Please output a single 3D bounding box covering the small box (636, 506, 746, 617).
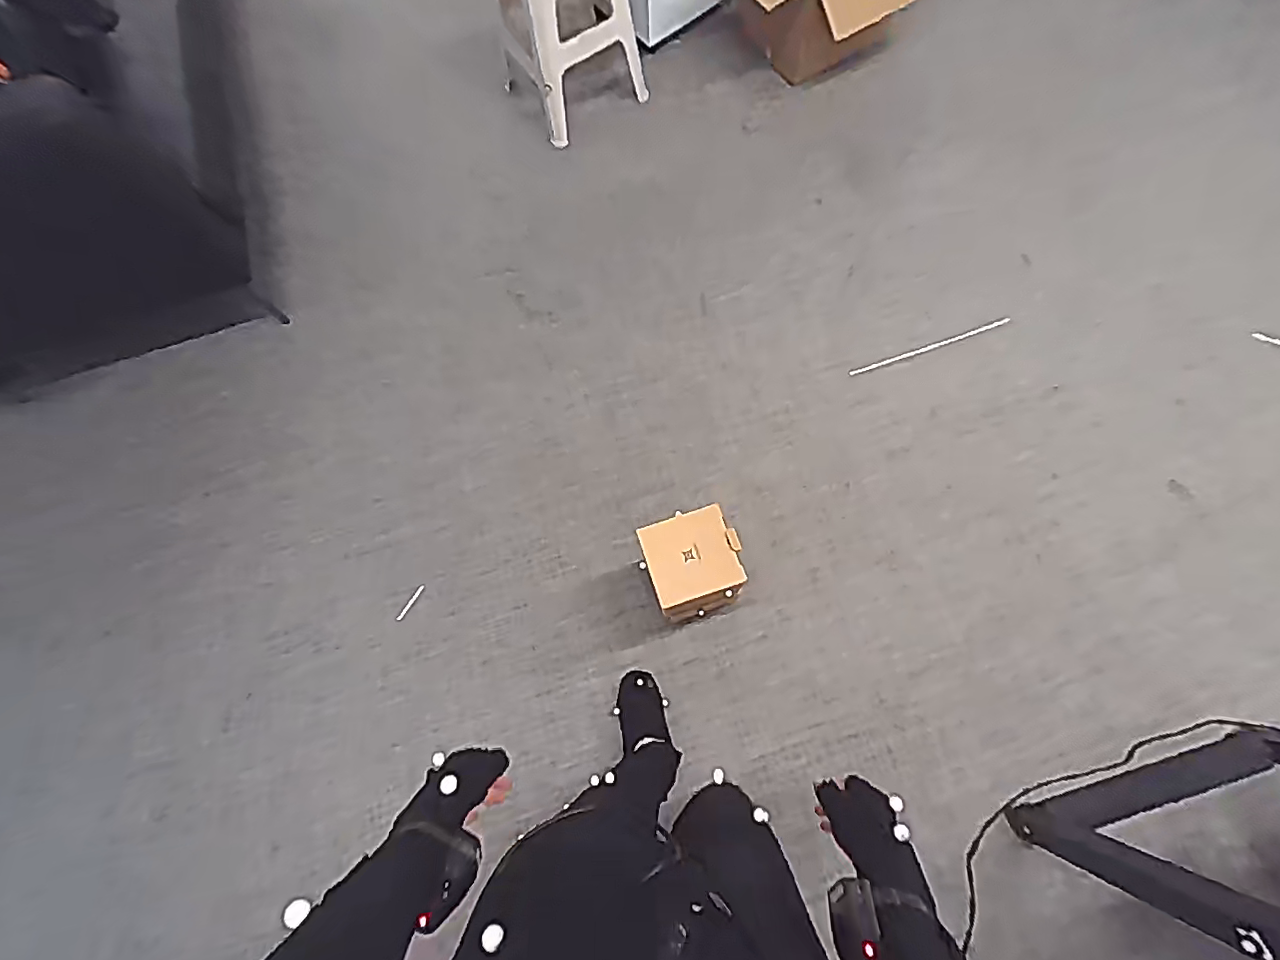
[{"bbox_3d":[0.104,0.177,1.128,0.179,0.176,0.168,-19,71,-3],"label":"small box"}]

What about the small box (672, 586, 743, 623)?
[{"bbox_3d":[0.128,0.229,1.284,0.168,0.176,0.179,-19,72,-2],"label":"small box"}]
